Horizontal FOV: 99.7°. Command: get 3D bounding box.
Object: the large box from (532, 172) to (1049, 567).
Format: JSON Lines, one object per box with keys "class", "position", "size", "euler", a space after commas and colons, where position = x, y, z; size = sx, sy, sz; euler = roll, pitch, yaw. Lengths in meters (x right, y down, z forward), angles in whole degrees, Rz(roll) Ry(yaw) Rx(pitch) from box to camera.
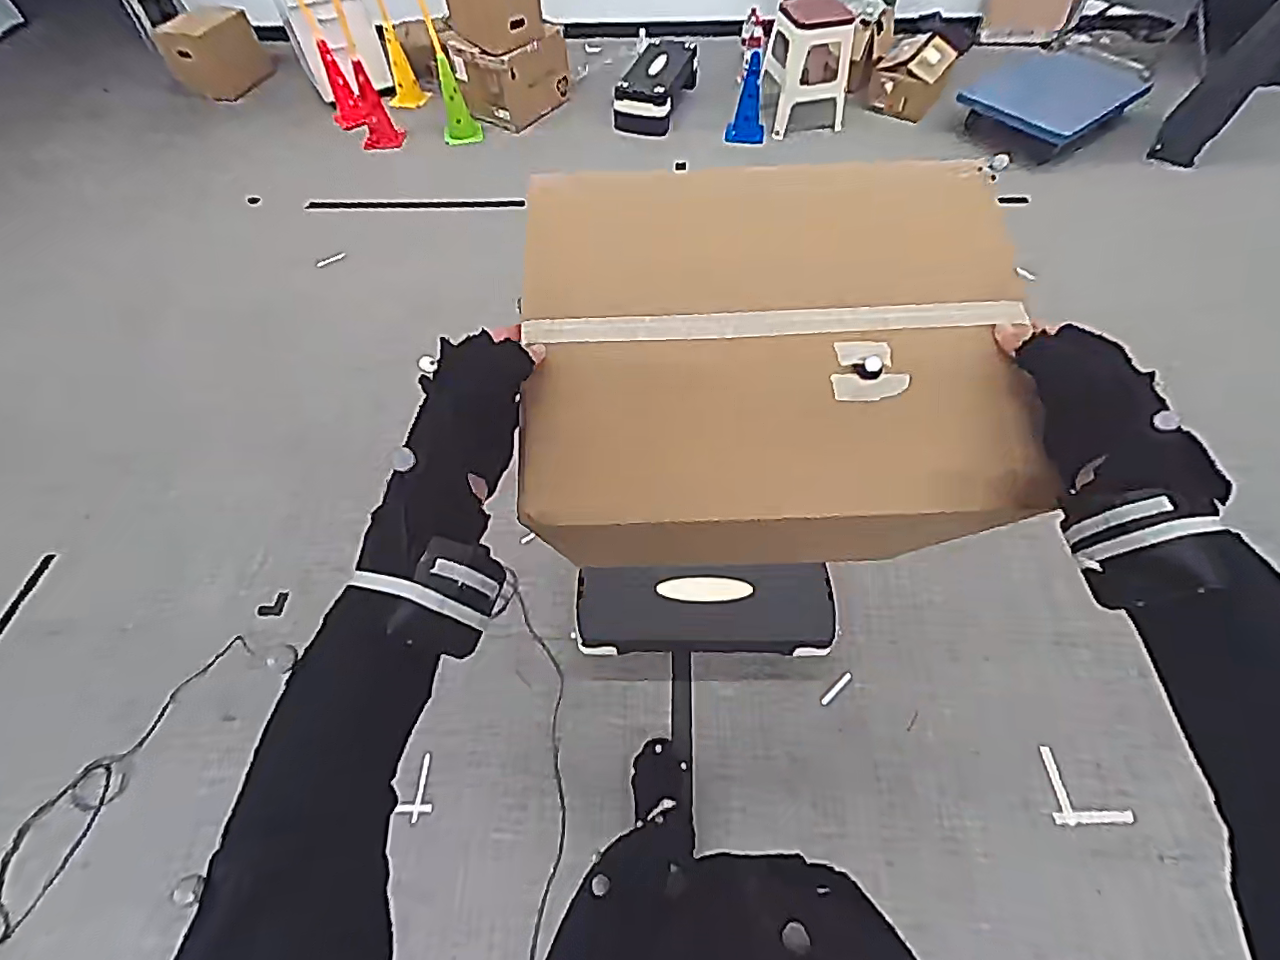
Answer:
{"class": "large box", "position": [0.107, -0.084, 0.591], "size": [0.408, 0.320, 0.320], "euler": [-2, 75, -1]}
